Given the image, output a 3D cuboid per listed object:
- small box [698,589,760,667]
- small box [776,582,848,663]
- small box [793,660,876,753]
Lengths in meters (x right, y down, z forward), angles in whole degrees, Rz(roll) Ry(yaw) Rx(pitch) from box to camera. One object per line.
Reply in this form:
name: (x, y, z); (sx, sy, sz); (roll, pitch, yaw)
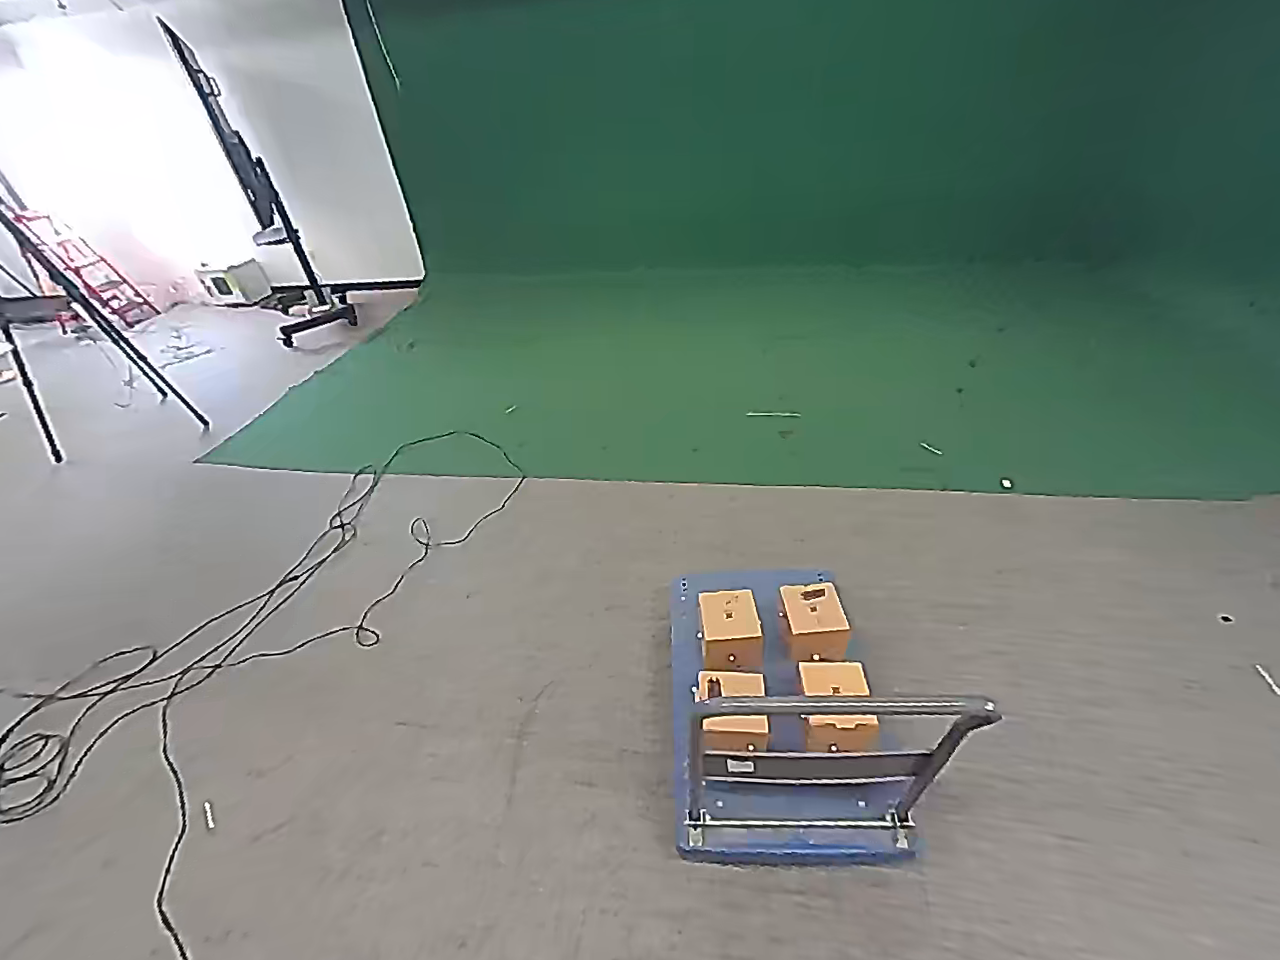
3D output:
small box: (0.273, 0.465, 1.680); (0.168, 0.176, 0.179); (-4, 38, 1)
small box: (0.524, 0.442, 1.675); (0.168, 0.176, 0.179); (-6, 39, 2)
small box: (0.516, 0.612, 1.464); (0.168, 0.176, 0.179); (-2, 39, 5)
